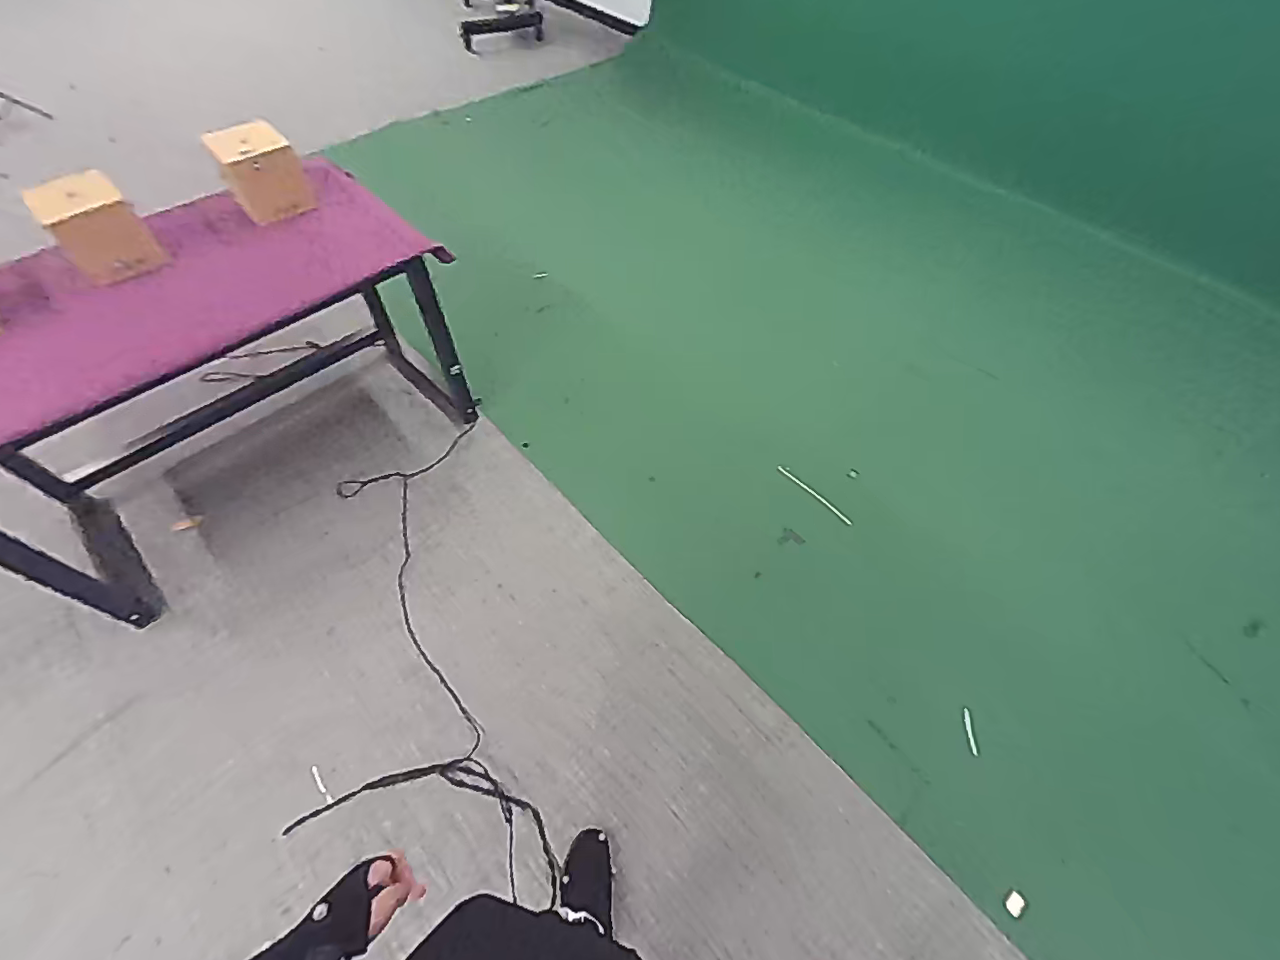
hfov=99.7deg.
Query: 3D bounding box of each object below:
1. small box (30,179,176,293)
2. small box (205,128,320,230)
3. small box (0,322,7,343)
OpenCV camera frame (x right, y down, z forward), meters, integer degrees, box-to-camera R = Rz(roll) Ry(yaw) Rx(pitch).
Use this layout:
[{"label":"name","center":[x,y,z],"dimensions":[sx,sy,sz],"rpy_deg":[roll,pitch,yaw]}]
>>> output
[{"label":"small box","center":[-1.294,-0.589,1.312],"dimensions":[0.168,0.176,0.179],"rpy_deg":[-40,66,-23]},{"label":"small box","center":[-1.015,-0.813,1.466],"dimensions":[0.168,0.176,0.179],"rpy_deg":[-38,64,-22]},{"label":"small box","center":[-1.534,-0.363,1.154],"dimensions":[0.168,0.176,0.179],"rpy_deg":[-39,65,-24]}]
